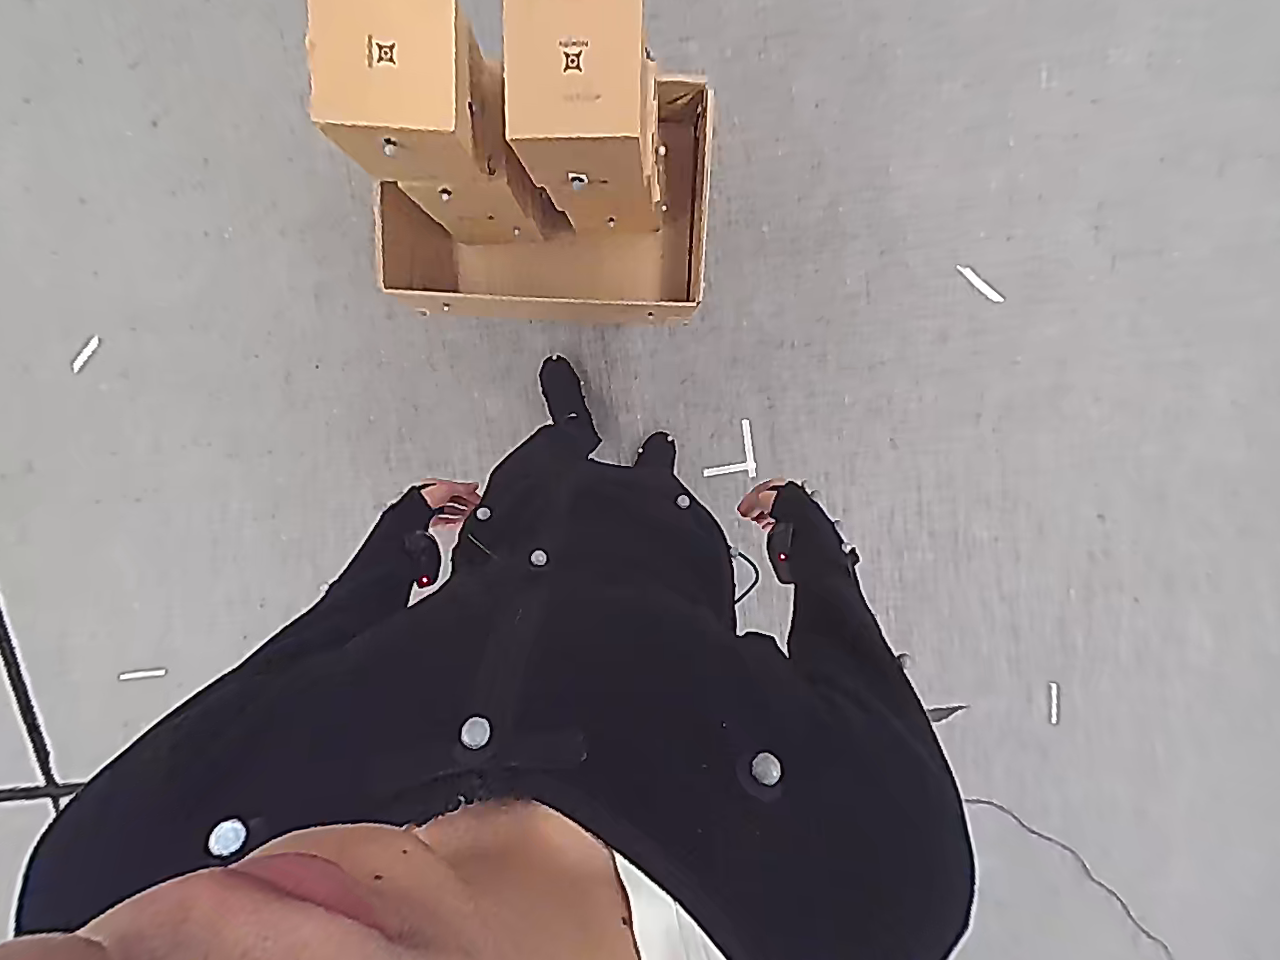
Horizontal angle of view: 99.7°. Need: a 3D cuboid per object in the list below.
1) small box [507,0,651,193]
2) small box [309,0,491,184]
[{"bbox_3d":[-0.072,-0.505,0.712,0.168,0.176,0.179,1,98,3],"label":"small box"},{"bbox_3d":[-0.302,-0.512,0.716,0.179,0.176,0.168,2,98,-1],"label":"small box"}]
